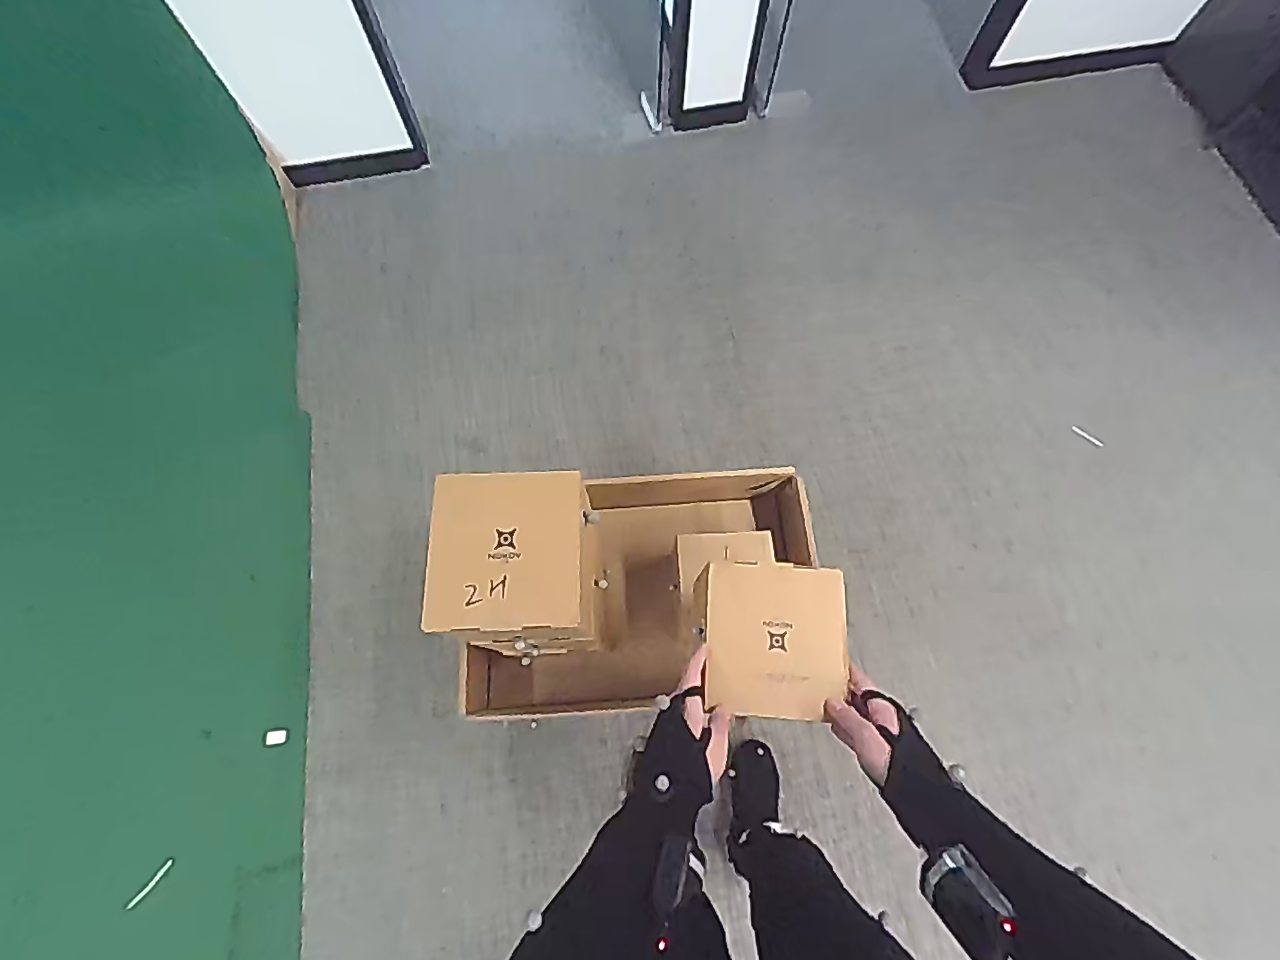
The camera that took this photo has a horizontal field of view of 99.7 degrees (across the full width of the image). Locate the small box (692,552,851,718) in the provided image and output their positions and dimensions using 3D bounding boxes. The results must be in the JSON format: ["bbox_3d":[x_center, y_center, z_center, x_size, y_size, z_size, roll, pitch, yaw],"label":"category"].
[{"bbox_3d":[0.159,0.204,0.704,0.168,0.176,0.179,5,70,1],"label":"small box"}]

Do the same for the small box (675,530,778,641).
[{"bbox_3d":[0.153,0.196,0.973,0.168,0.176,0.179,-2,70,-1],"label":"small box"}]

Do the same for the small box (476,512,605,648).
[{"bbox_3d":[-0.141,0.156,0.817,0.168,0.176,0.179,-2,71,-1],"label":"small box"}]

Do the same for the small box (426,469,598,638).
[{"bbox_3d":[-0.142,0.097,0.663,0.168,0.176,0.179,-1,70,0],"label":"small box"}]
